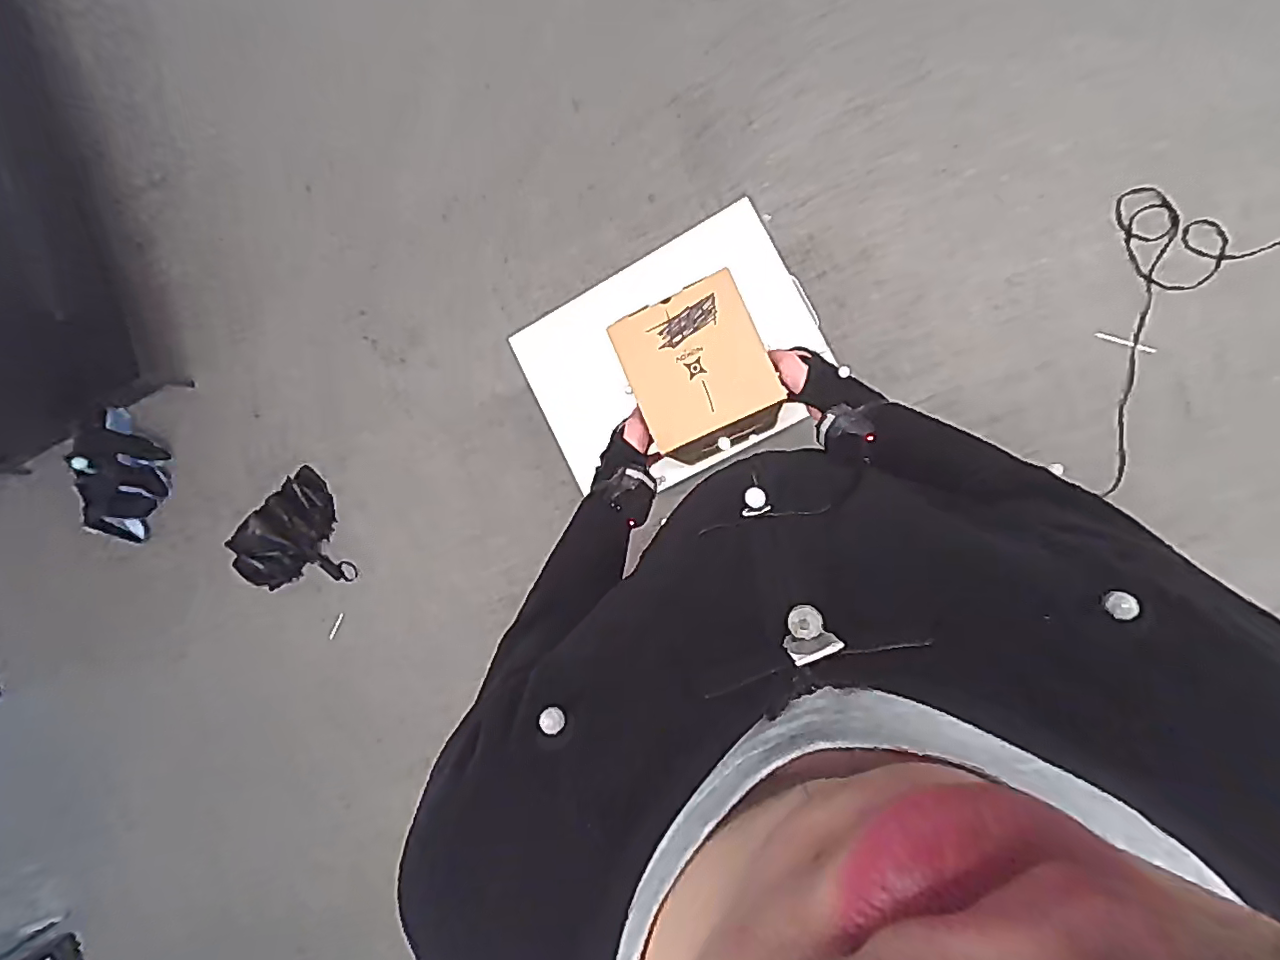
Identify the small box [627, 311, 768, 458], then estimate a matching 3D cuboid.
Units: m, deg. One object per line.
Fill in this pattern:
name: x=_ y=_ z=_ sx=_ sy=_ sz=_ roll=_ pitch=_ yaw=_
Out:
small box: x=0.100 y=-0.144 z=0.891 sx=0.168 sy=0.176 sz=0.179 roll=-24 pitch=84 yaw=9
